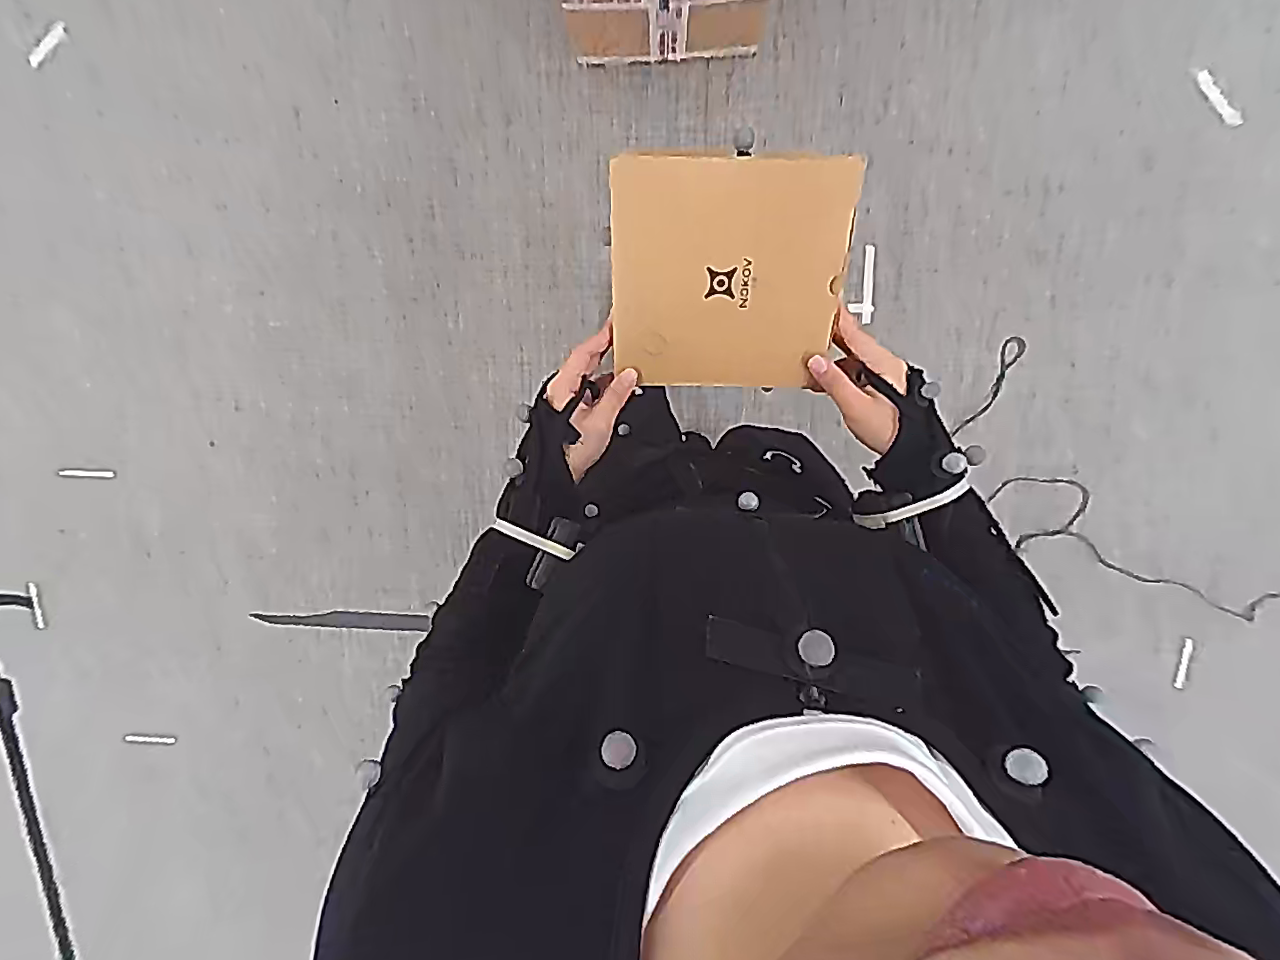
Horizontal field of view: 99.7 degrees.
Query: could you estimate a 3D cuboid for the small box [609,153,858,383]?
[{"bbox_3d":[0.067,-0.196,0.486,0.179,0.176,0.168,1,121,1],"label":"small box"}]
